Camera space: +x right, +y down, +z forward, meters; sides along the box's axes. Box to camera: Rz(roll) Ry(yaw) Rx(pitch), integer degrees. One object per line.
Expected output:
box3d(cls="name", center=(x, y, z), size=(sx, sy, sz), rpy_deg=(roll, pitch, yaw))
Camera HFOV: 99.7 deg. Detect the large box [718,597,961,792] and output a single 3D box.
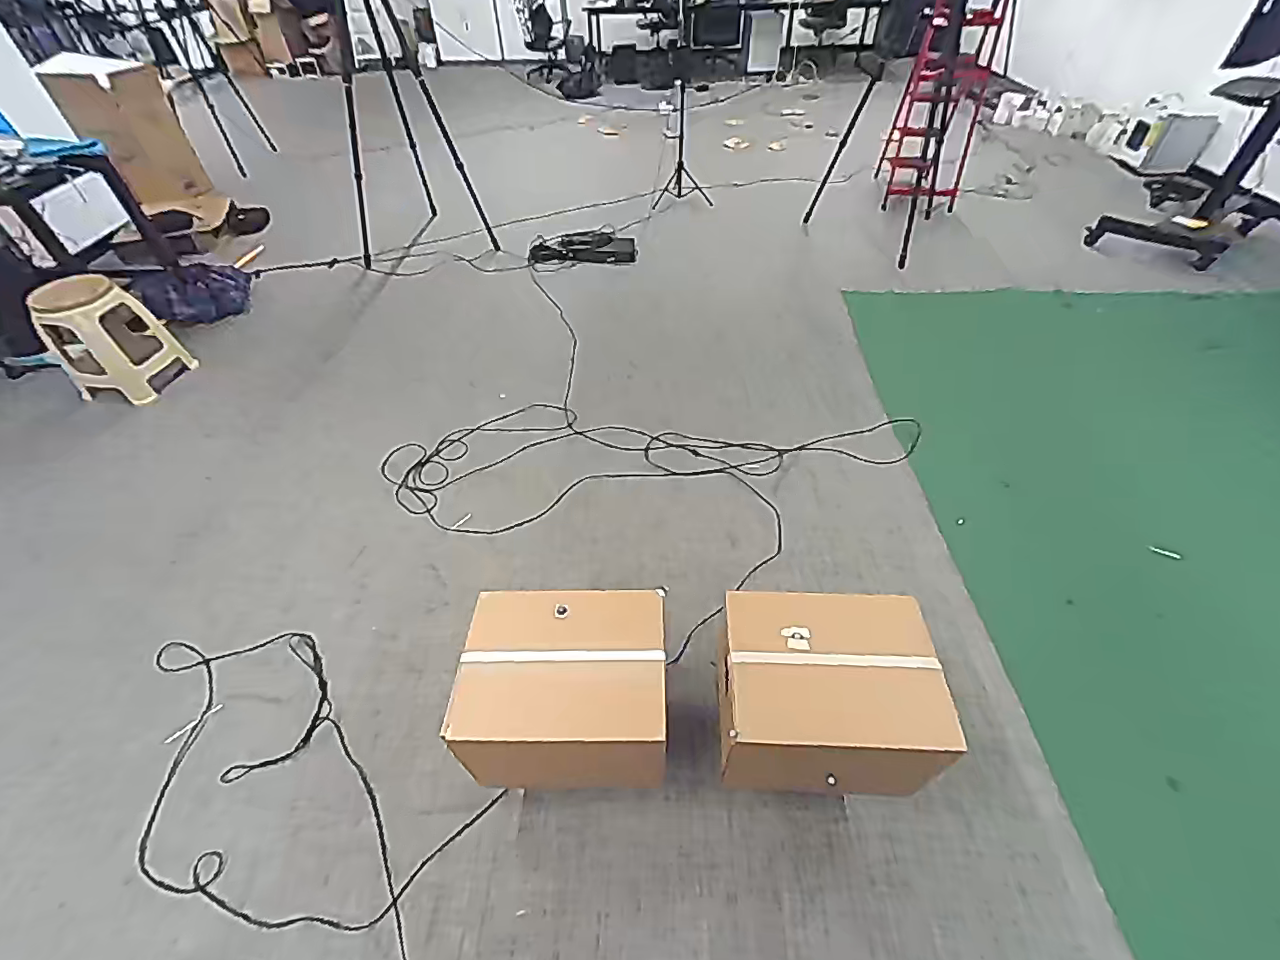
box3d(cls="large box", center=(0.387, 0.468, 1.176), size=(0.408, 0.320, 0.320), rpy_deg=(1, 46, 4))
